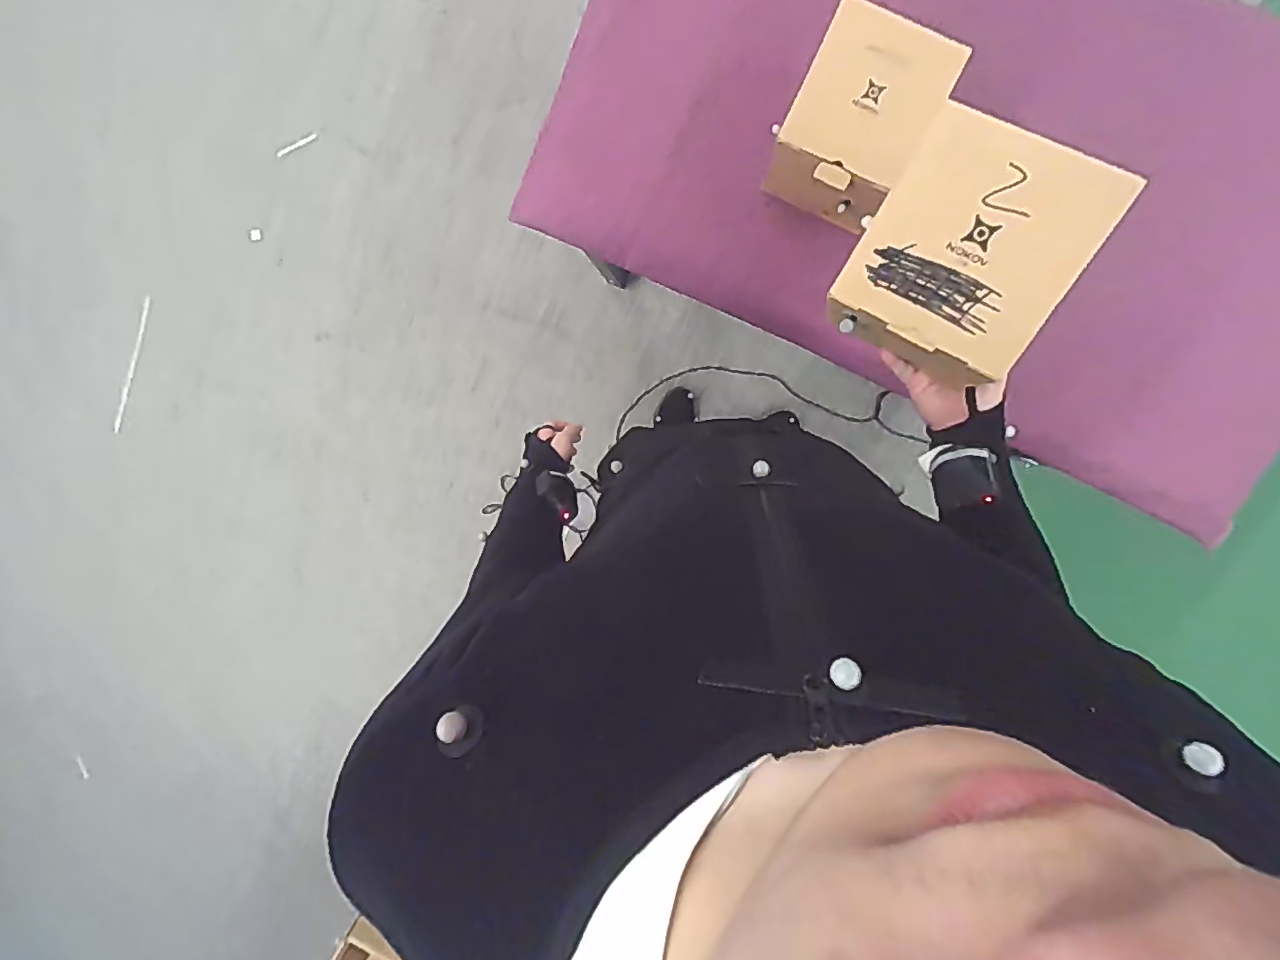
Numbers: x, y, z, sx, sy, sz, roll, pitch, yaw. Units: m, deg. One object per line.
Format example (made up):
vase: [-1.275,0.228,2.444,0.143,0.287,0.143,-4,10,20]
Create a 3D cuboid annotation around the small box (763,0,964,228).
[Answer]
small box: [0.278,-0.471,0.724,0.168,0.176,0.179,26,100,1]
